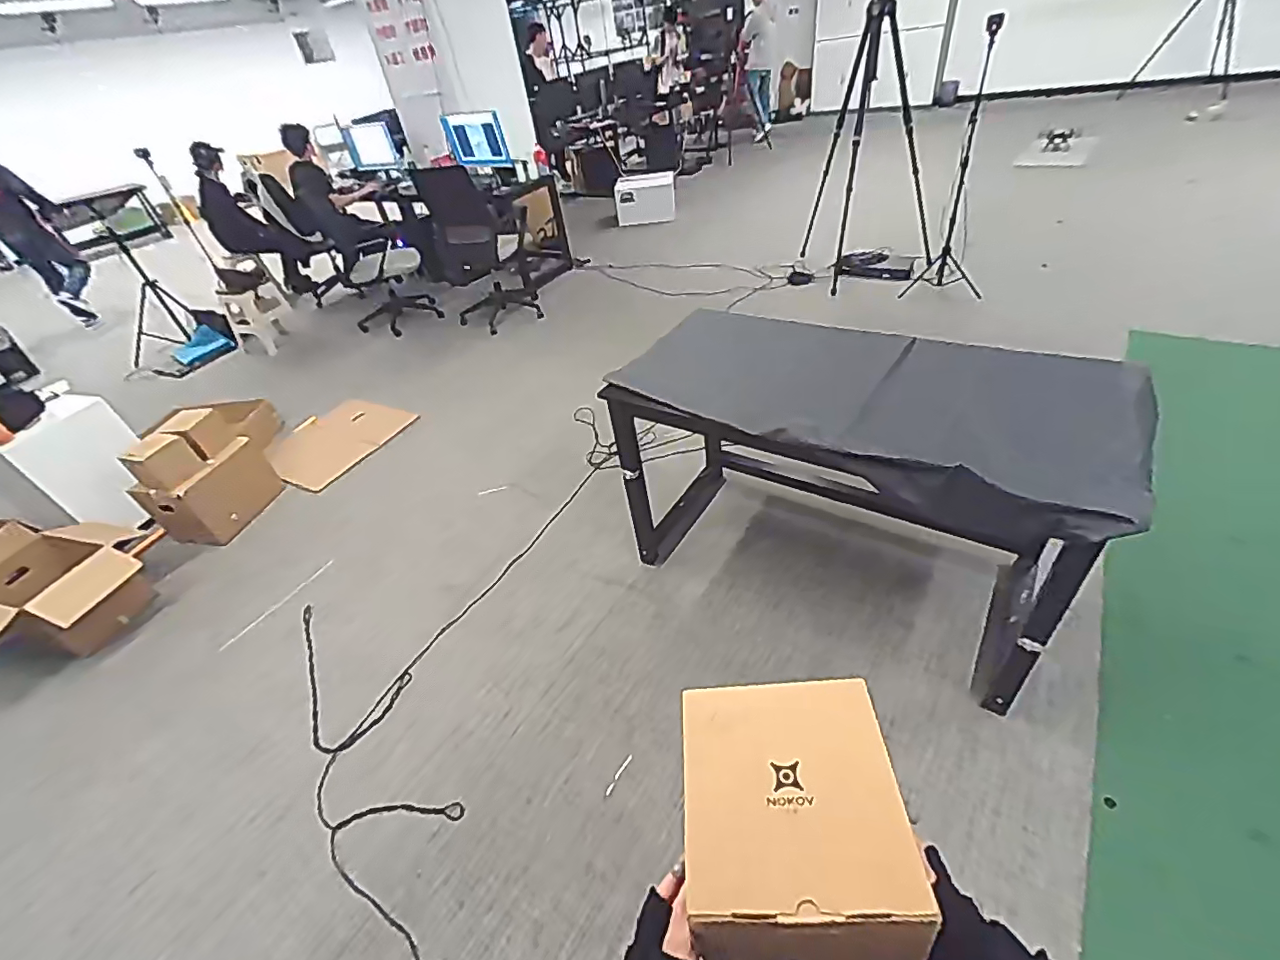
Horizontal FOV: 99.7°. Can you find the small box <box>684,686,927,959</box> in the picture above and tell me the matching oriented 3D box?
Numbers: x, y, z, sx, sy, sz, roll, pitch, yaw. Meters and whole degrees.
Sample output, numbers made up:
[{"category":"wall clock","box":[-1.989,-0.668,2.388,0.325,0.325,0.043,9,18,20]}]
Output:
[{"category":"small box","box":[0.129,0.312,0.484,0.168,0.176,0.179,-7,37,8]}]
